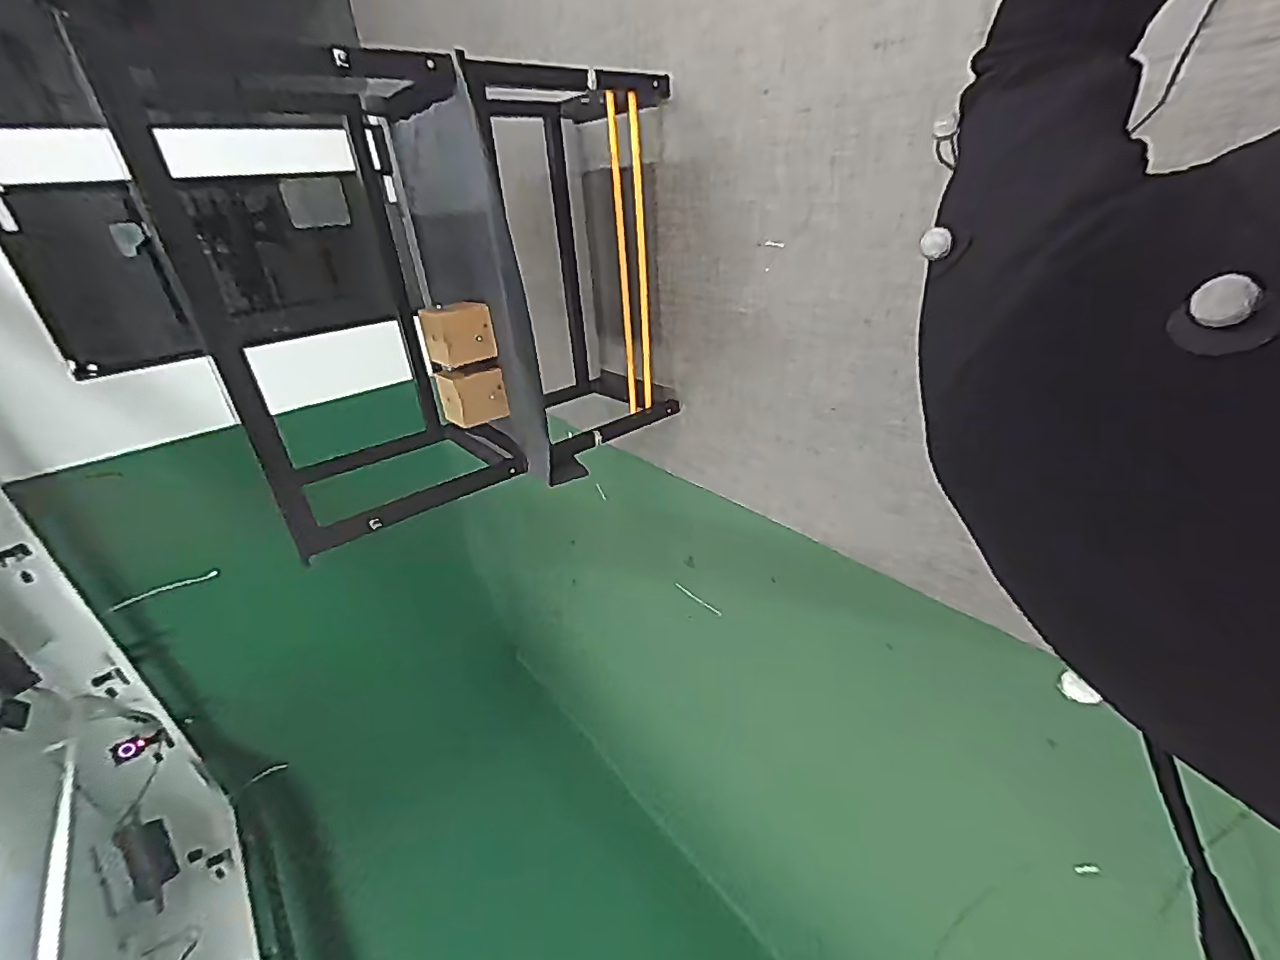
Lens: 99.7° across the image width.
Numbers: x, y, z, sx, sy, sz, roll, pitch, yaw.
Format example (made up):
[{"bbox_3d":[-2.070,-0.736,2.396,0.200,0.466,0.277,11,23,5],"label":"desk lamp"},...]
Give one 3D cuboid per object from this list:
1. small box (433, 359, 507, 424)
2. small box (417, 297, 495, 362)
[{"bbox_3d":[-0.577,-0.309,1.841,0.179,0.176,0.168,24,129,45],"label":"small box"},{"bbox_3d":[-0.594,-0.492,1.753,0.179,0.176,0.168,24,130,45],"label":"small box"}]
